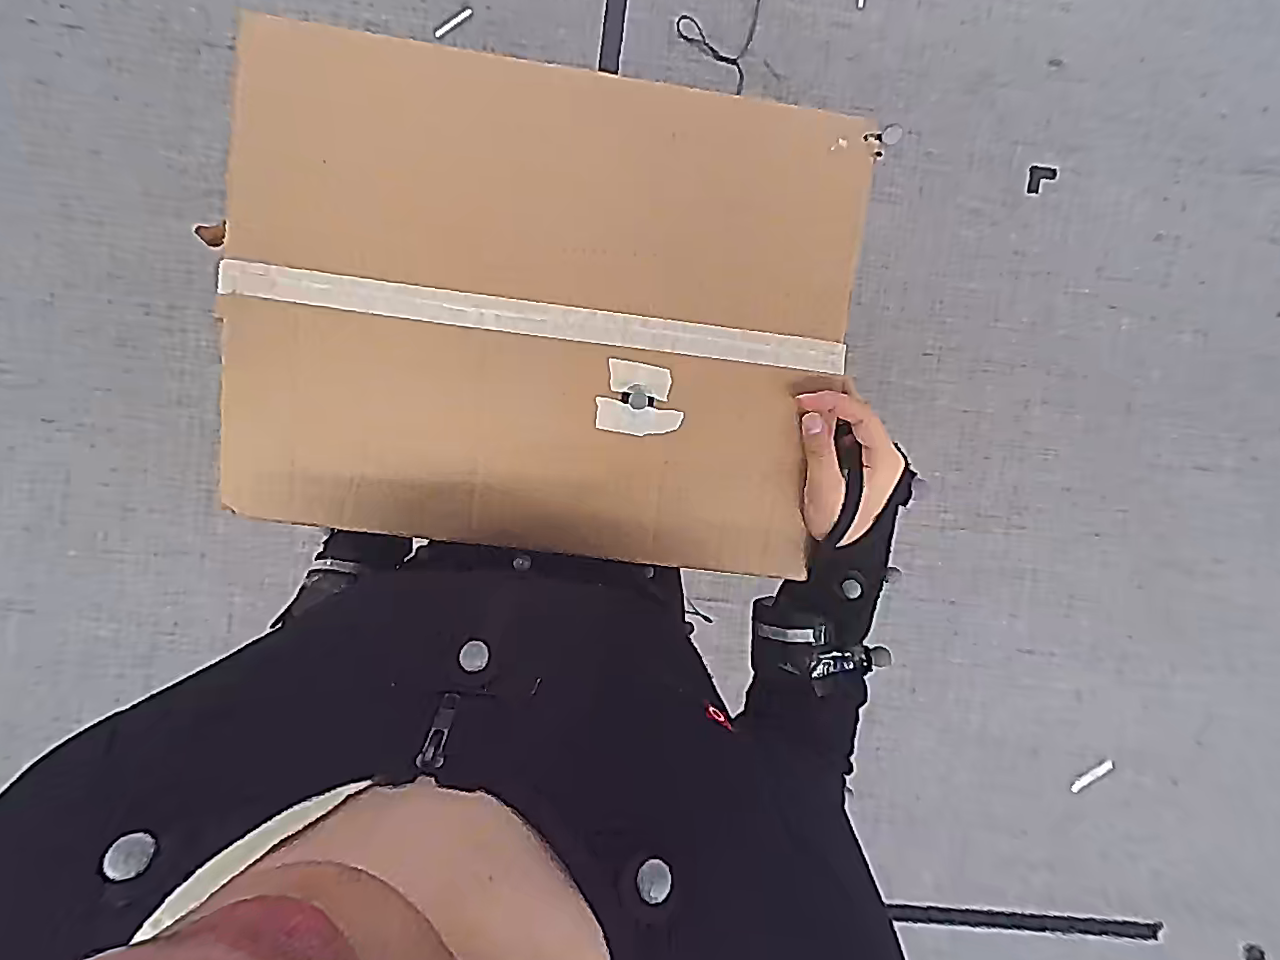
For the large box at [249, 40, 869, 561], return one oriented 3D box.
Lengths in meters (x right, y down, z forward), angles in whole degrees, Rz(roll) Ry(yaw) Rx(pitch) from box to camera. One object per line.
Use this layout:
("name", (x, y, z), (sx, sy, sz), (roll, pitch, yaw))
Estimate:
("large box", (-0.066, -0.124, 0.516), (0.408, 0.320, 0.320), (6, 97, -5))
